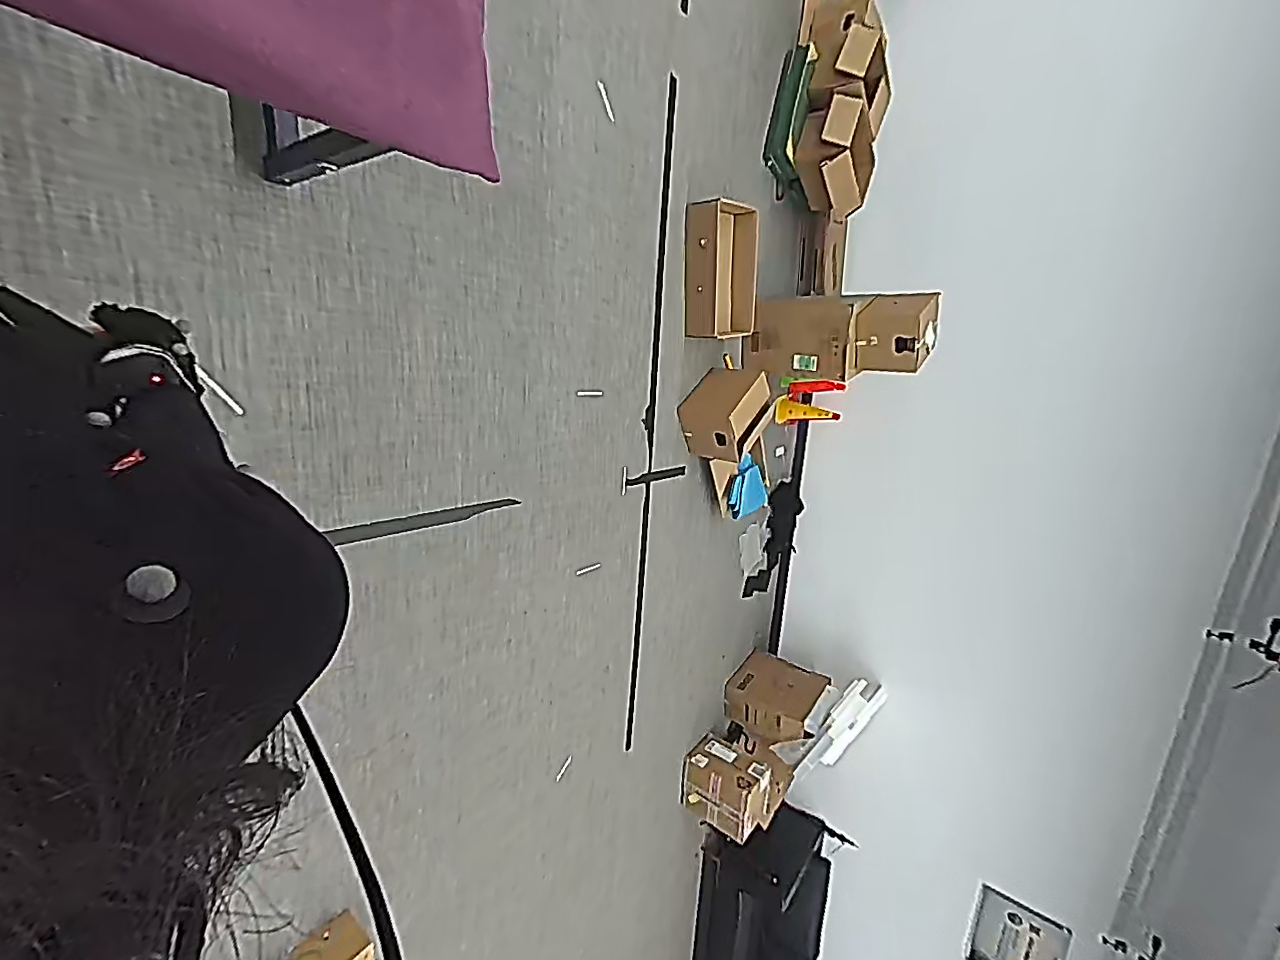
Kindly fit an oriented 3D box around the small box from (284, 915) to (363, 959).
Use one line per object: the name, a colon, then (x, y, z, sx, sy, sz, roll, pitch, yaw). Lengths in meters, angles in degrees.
small box: (-0.991, 1.534, 1.690, 0.179, 0.176, 0.168, -13, 112, -52)
